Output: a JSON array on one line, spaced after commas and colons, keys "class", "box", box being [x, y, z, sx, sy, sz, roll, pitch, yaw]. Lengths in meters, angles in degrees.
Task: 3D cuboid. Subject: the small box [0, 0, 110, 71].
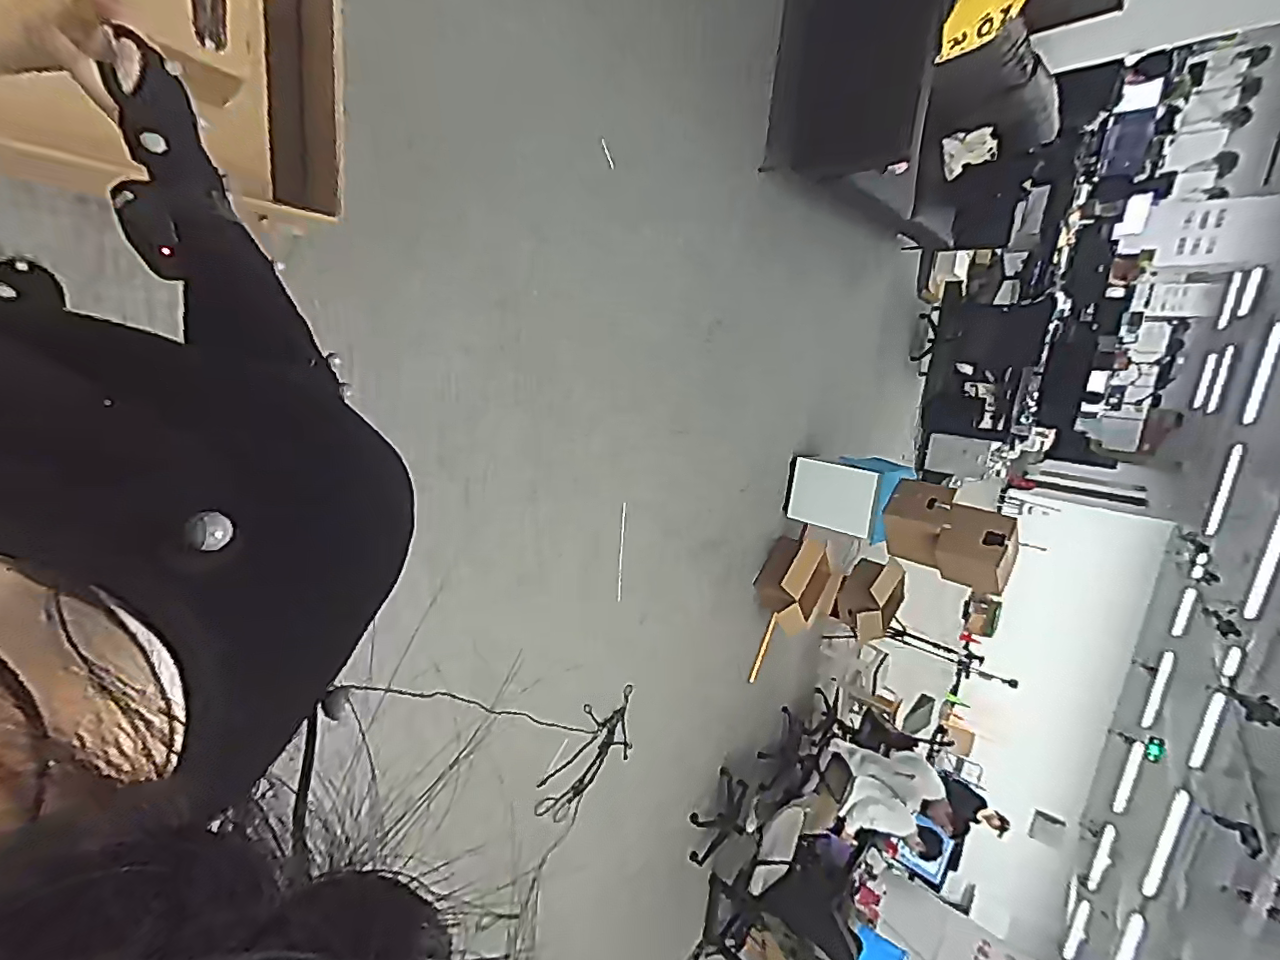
[{"class": "small box", "box": [-0.564, -0.447, 0.418, 0.168, 0.176, 0.179, -23, 148, -24]}]
